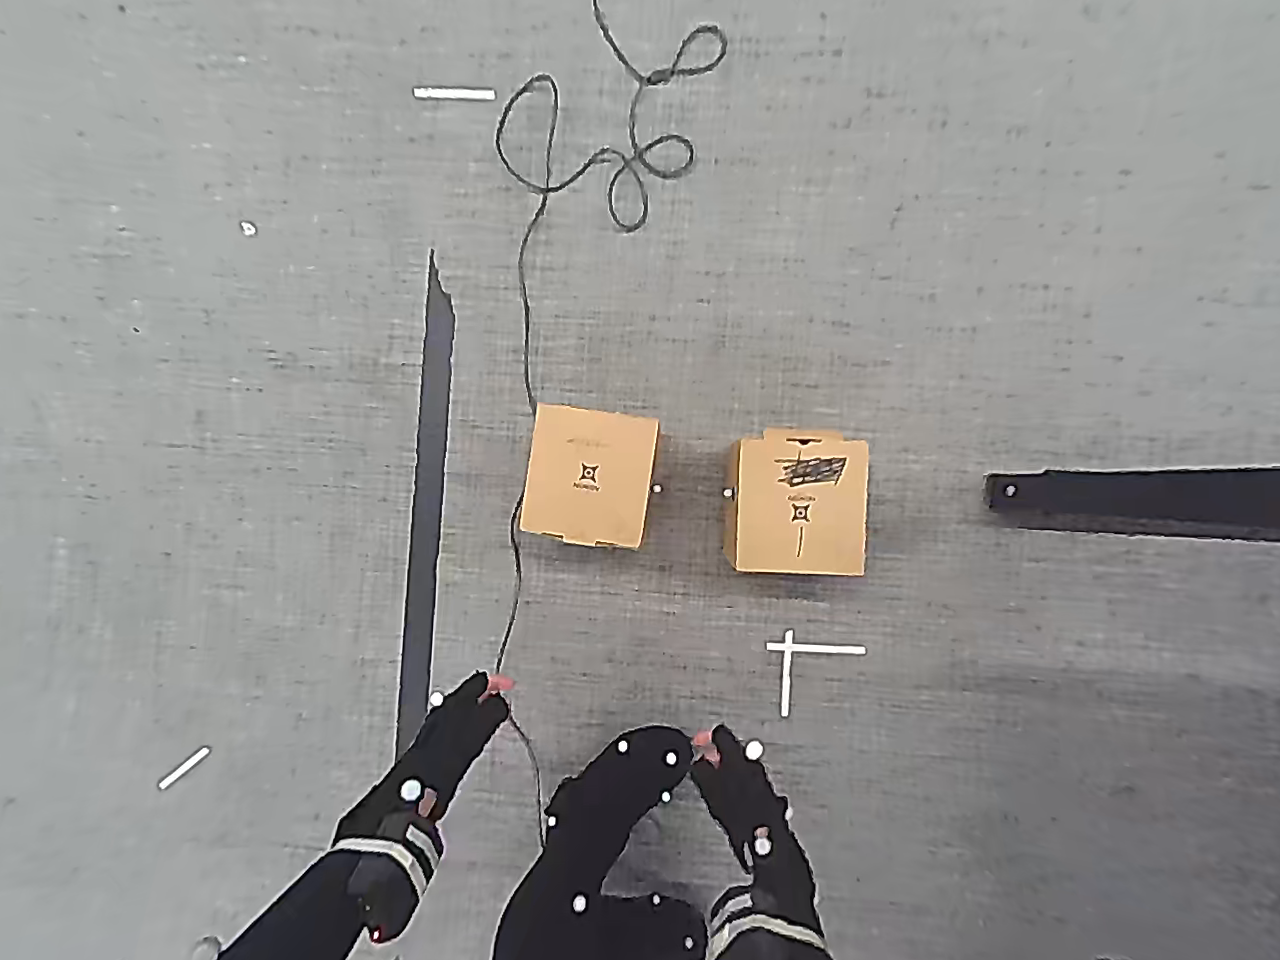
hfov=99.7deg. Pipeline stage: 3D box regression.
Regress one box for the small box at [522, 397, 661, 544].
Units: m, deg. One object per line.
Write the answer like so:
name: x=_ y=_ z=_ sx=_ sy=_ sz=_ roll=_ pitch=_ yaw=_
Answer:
small box: x=-0.061 y=-0.011 z=0.790 sx=0.168 sy=0.176 sz=0.179 roll=8 pitch=89 yaw=2

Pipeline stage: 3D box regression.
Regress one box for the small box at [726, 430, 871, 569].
small box: x=0.214 y=0.026 z=0.770 sx=0.168 sy=0.176 sz=0.179 roll=2 pitch=90 yaw=3
